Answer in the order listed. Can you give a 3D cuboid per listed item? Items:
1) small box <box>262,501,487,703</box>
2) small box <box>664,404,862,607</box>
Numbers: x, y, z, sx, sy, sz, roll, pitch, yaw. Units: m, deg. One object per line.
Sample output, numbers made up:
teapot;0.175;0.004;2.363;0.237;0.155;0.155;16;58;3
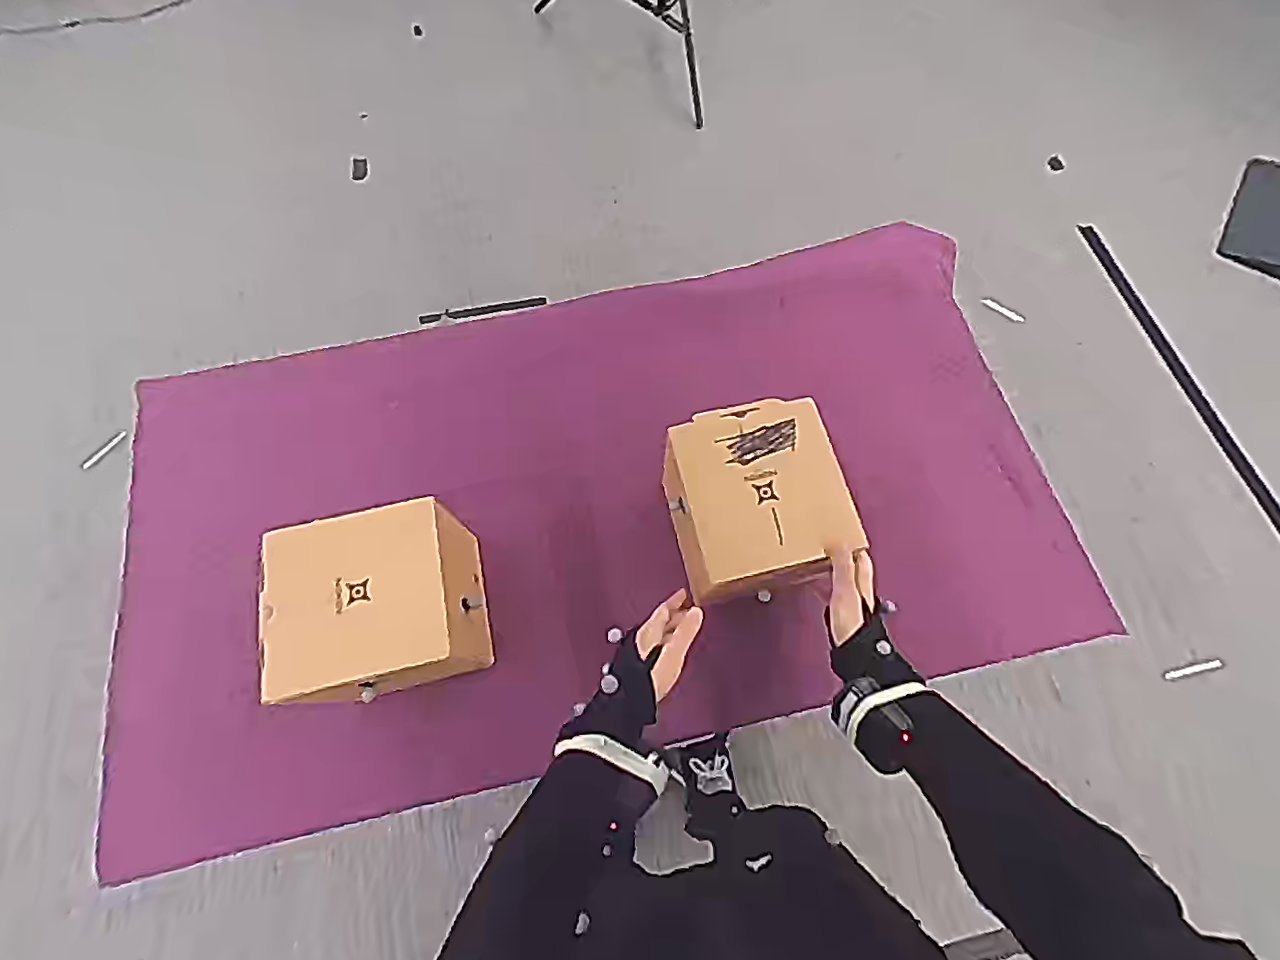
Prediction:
small box;-0.280;0.140;0.603;0.179;0.176;0.168;-13;70;-4
small box;0.126;0.037;0.637;0.168;0.176;0.179;-12;70;-4
